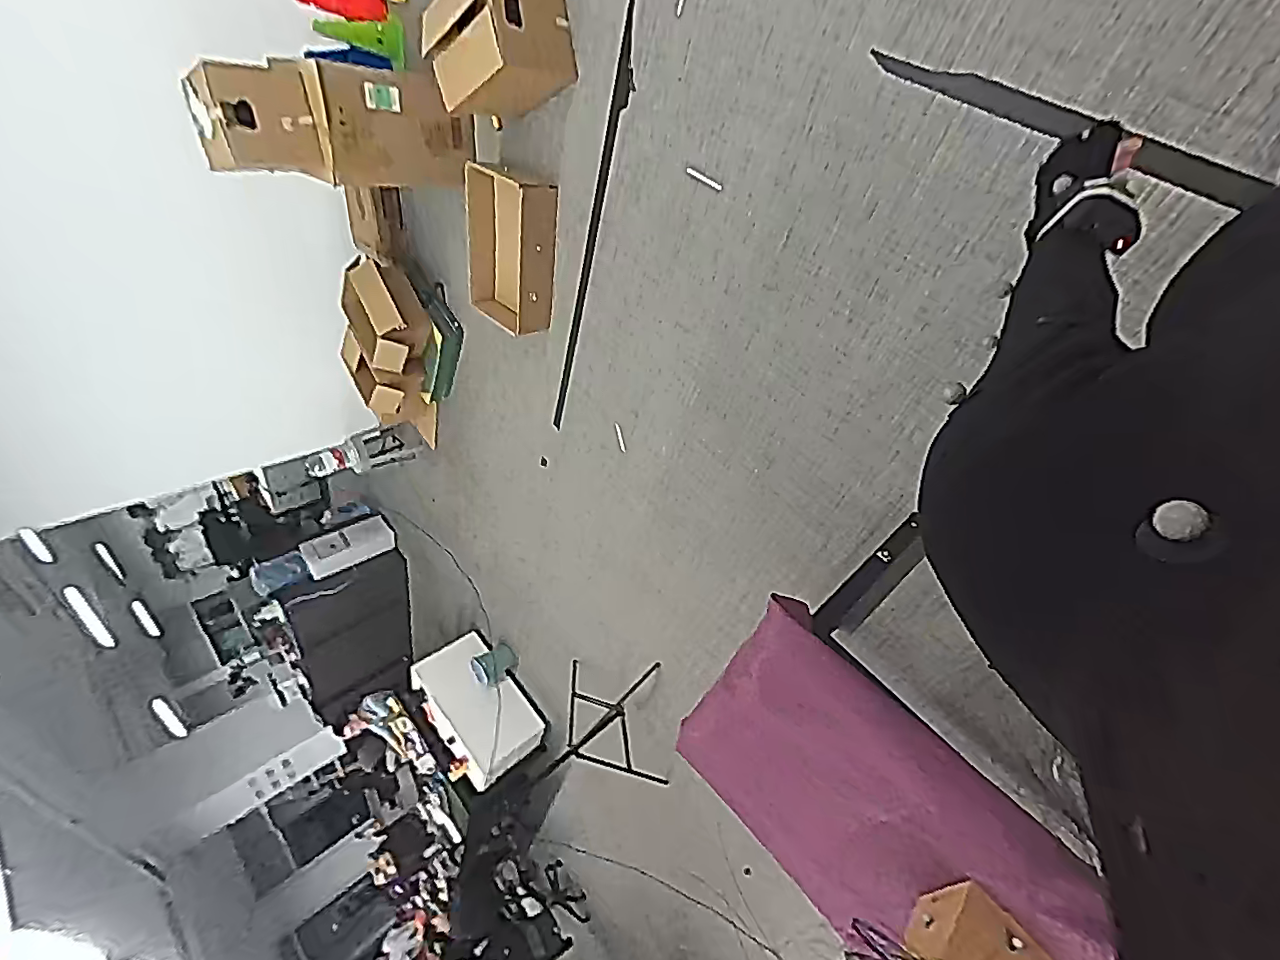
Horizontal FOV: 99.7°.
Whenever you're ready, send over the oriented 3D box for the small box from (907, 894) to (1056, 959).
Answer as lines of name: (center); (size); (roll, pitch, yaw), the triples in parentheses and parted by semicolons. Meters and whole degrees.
small box: (0.587, 0.851, 0.921); (0.179, 0.176, 0.168); (43, 137, 26)
